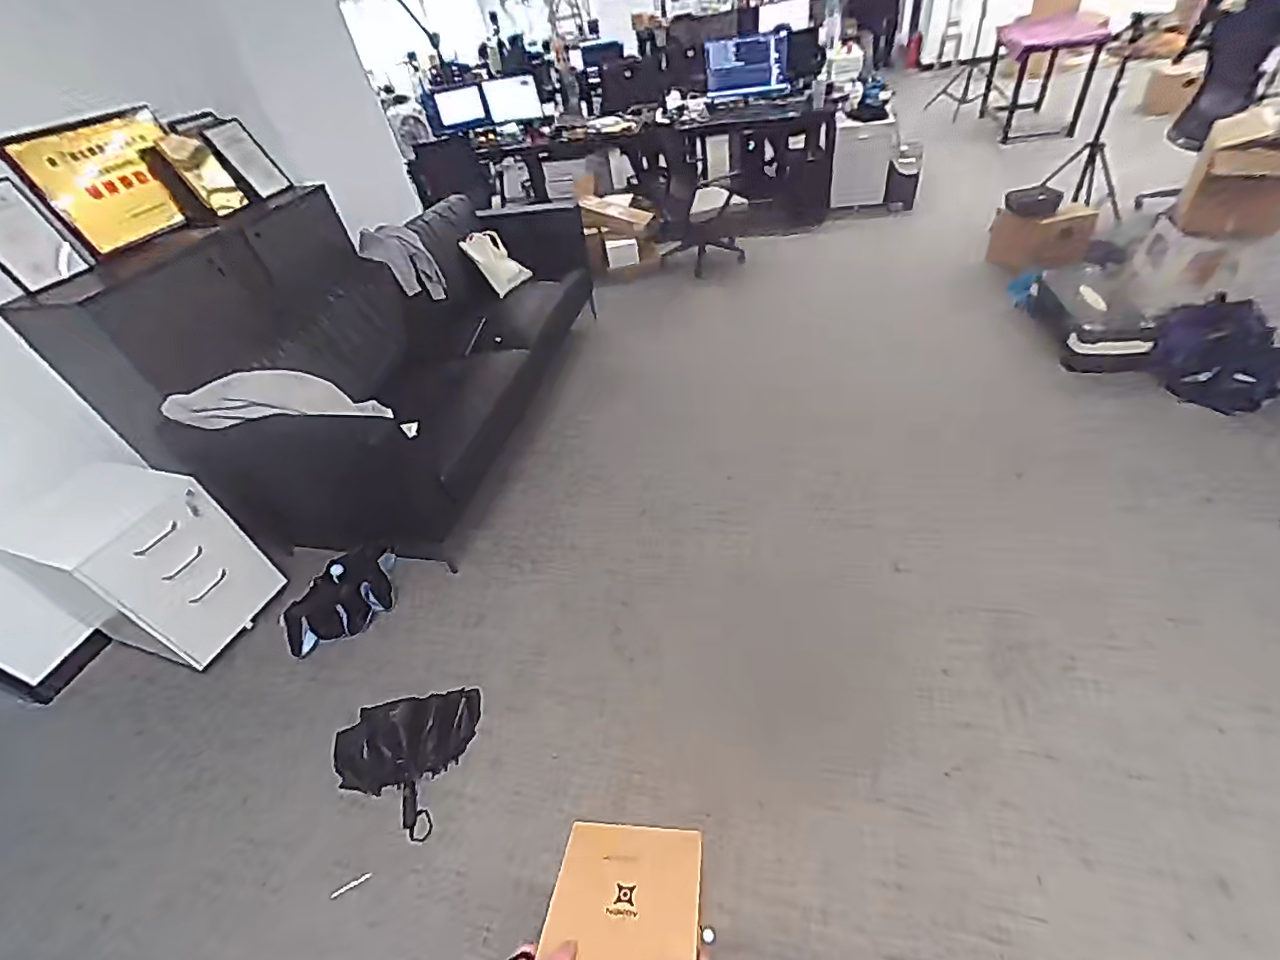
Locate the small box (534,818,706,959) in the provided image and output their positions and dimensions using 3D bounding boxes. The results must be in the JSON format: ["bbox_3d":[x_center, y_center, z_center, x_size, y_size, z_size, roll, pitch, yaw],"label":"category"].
[{"bbox_3d":[-0.010,0.536,0.627,0.168,0.176,0.179,-2,17,8],"label":"small box"}]
